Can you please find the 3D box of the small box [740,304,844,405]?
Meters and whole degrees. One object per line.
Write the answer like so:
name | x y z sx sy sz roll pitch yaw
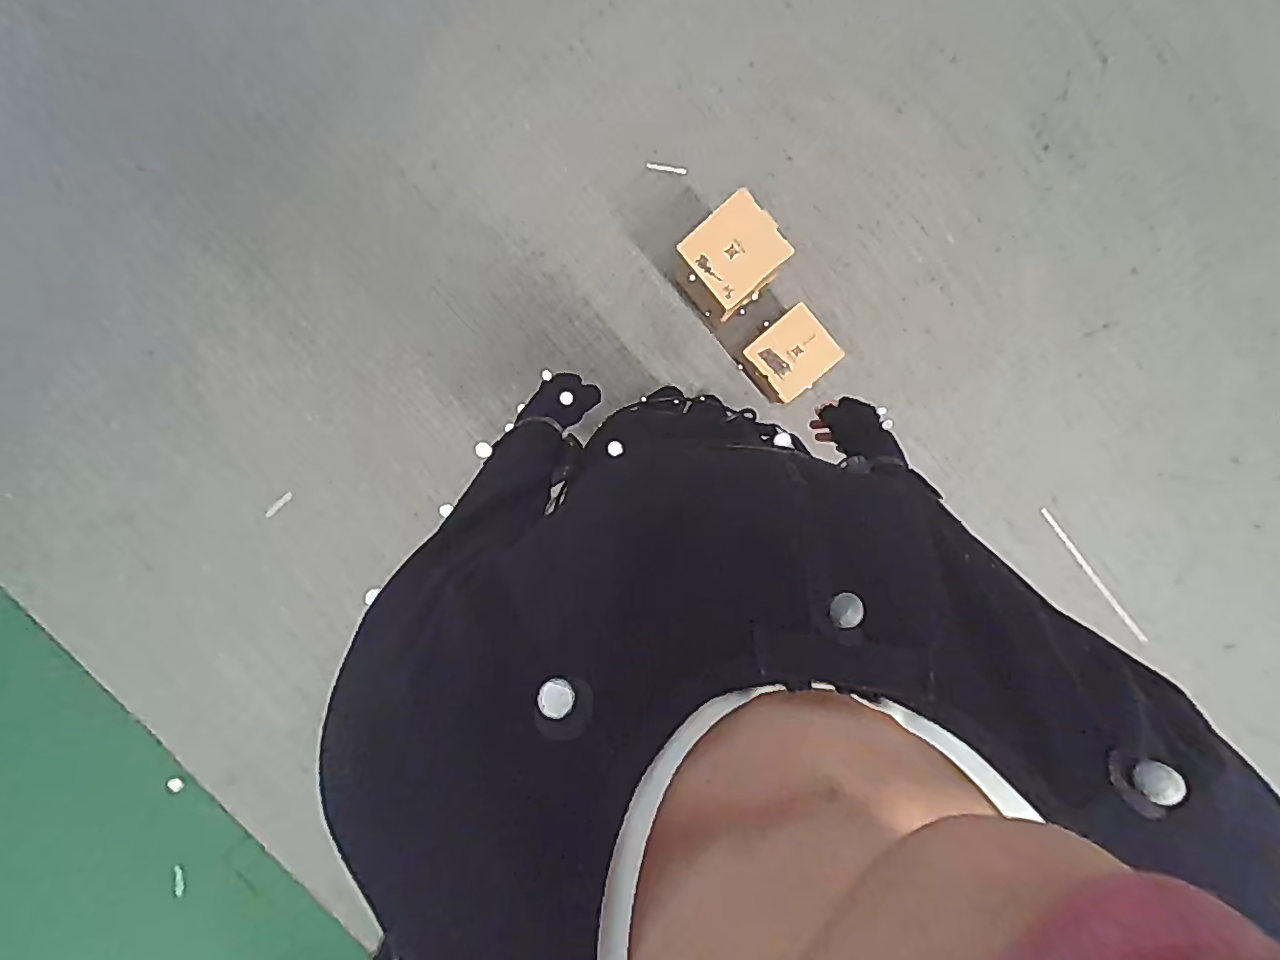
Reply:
small box | 0.361 -0.300 1.331 0.179 0.176 0.168 -40 95 8

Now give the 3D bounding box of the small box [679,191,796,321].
small box | 0.196 -0.465 1.150 0.179 0.176 0.168 -39 95 7
